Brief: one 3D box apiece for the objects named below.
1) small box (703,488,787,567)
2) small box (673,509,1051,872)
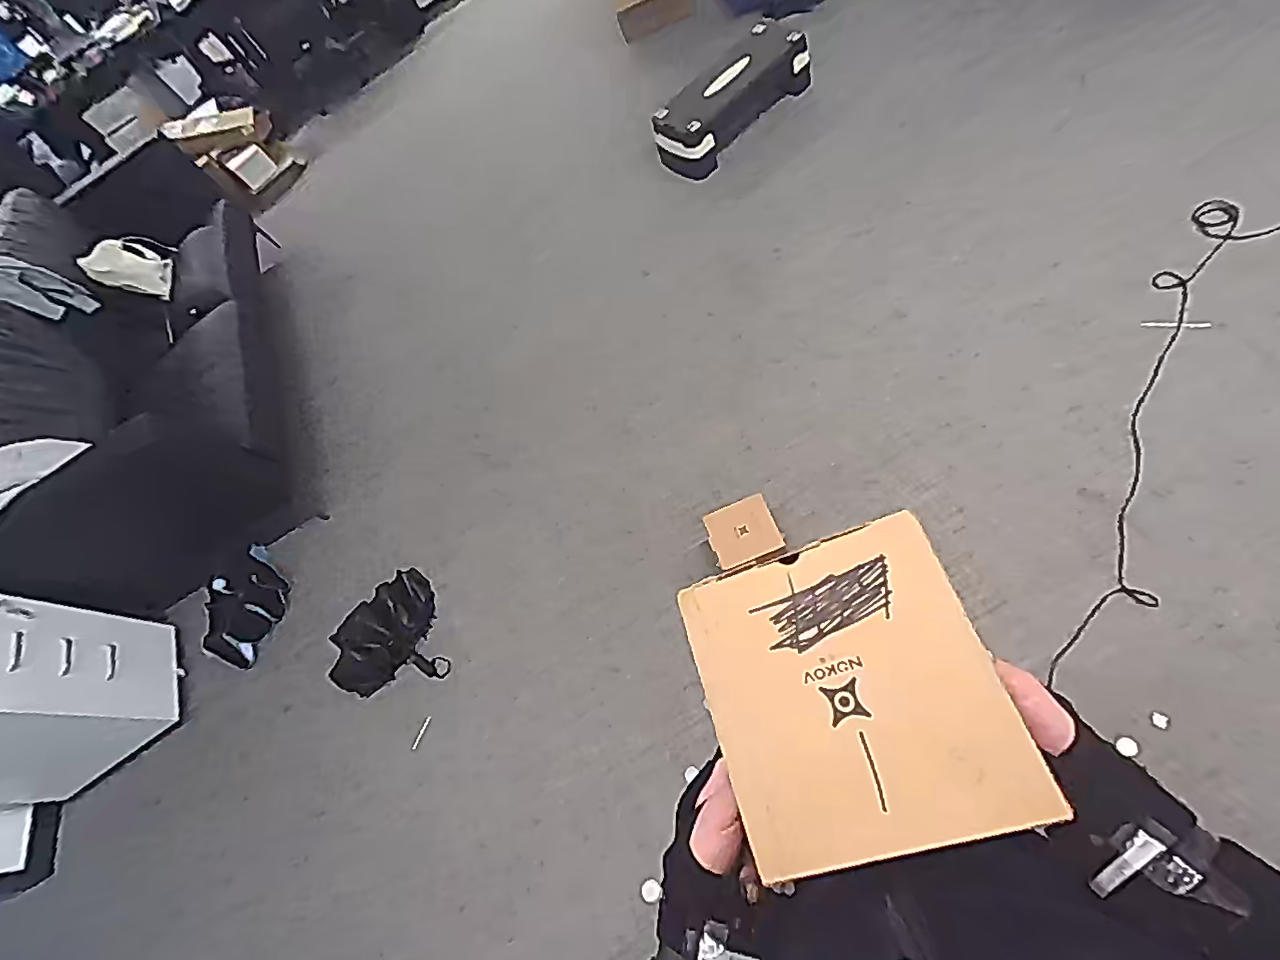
[{"bbox_3d":[0.297,0.154,1.494,0.179,0.176,0.168,-24,61,8],"label":"small box"},{"bbox_3d":[0.143,0.147,0.396,0.168,0.176,0.179,-23,64,14],"label":"small box"}]
